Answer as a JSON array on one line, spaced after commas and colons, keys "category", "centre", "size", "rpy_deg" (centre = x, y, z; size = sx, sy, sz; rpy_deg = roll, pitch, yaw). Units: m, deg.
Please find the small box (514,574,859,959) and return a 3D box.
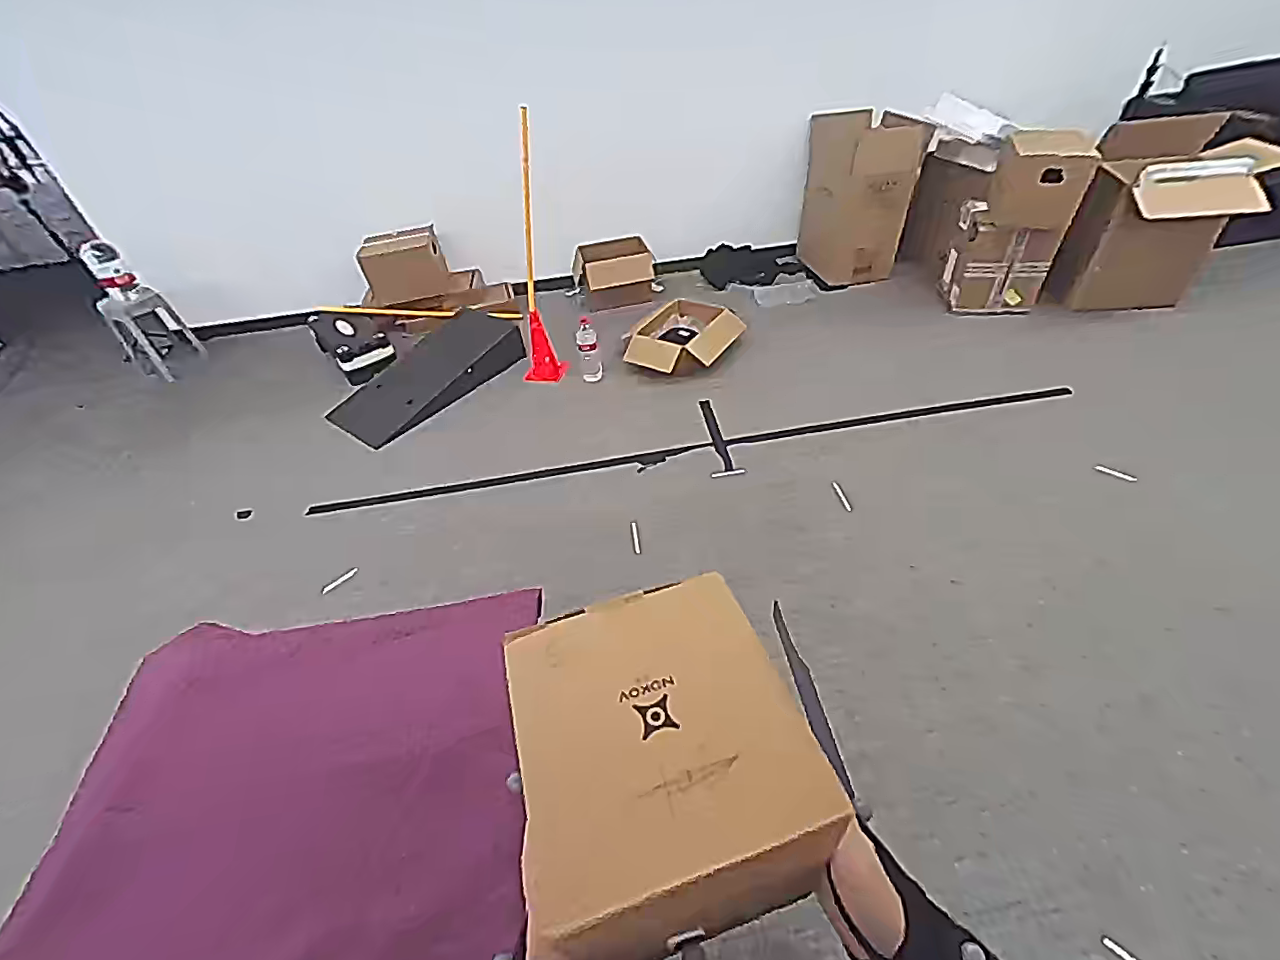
[{"category": "small box", "centre": [0.018, 0.202, 0.382], "size": [0.168, 0.176, 0.179], "rpy_deg": [-15, 42, -11]}]
